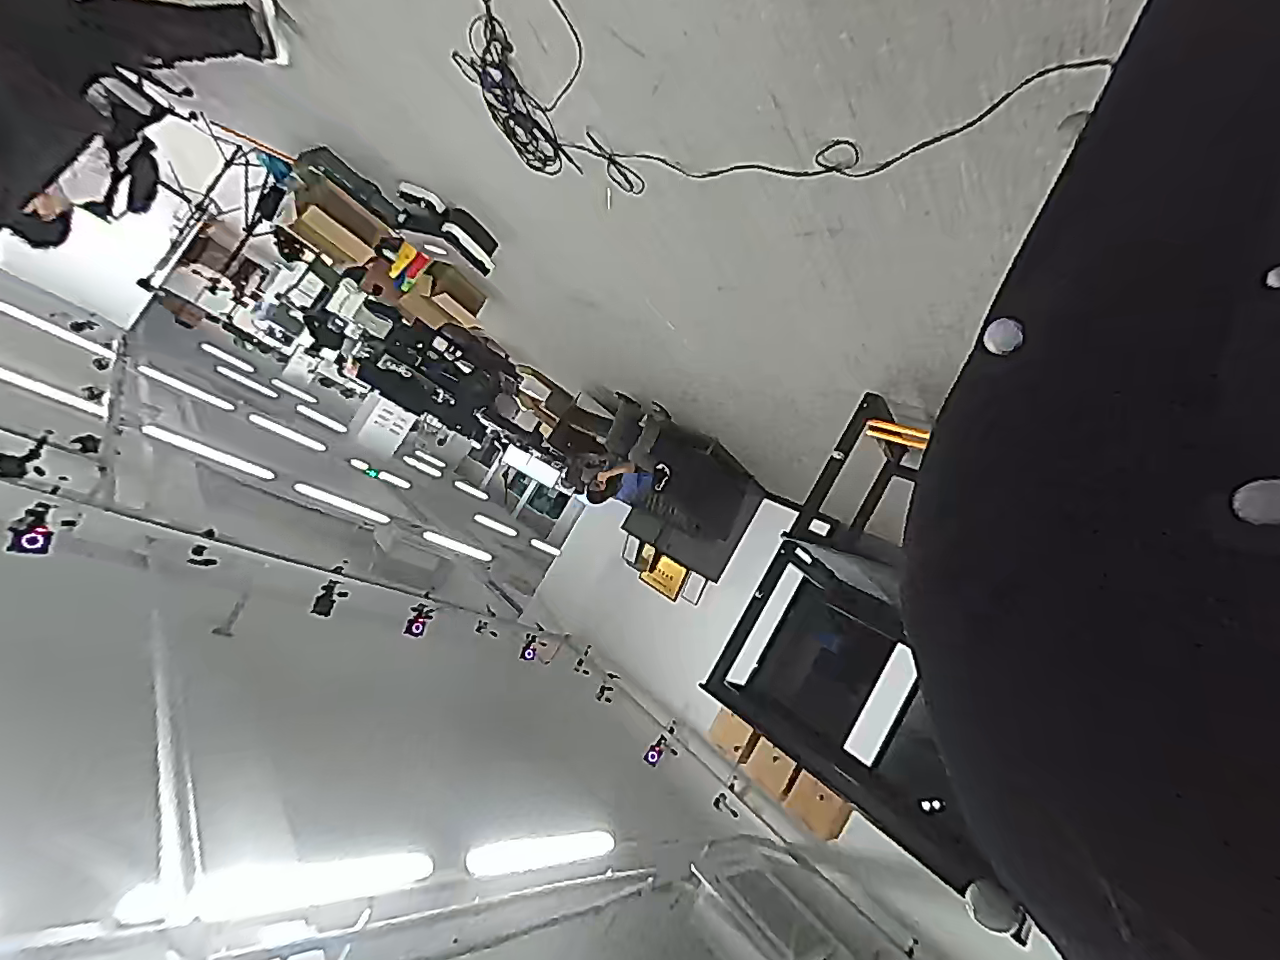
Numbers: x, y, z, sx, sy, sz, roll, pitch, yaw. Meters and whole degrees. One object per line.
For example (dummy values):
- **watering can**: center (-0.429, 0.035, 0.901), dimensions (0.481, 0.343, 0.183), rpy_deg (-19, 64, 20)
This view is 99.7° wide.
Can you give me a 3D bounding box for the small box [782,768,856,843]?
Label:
- **small box**: center (0.651, 1.166, 1.947), dimensions (0.168, 0.176, 0.179), rpy_deg (26, 174, 45)
